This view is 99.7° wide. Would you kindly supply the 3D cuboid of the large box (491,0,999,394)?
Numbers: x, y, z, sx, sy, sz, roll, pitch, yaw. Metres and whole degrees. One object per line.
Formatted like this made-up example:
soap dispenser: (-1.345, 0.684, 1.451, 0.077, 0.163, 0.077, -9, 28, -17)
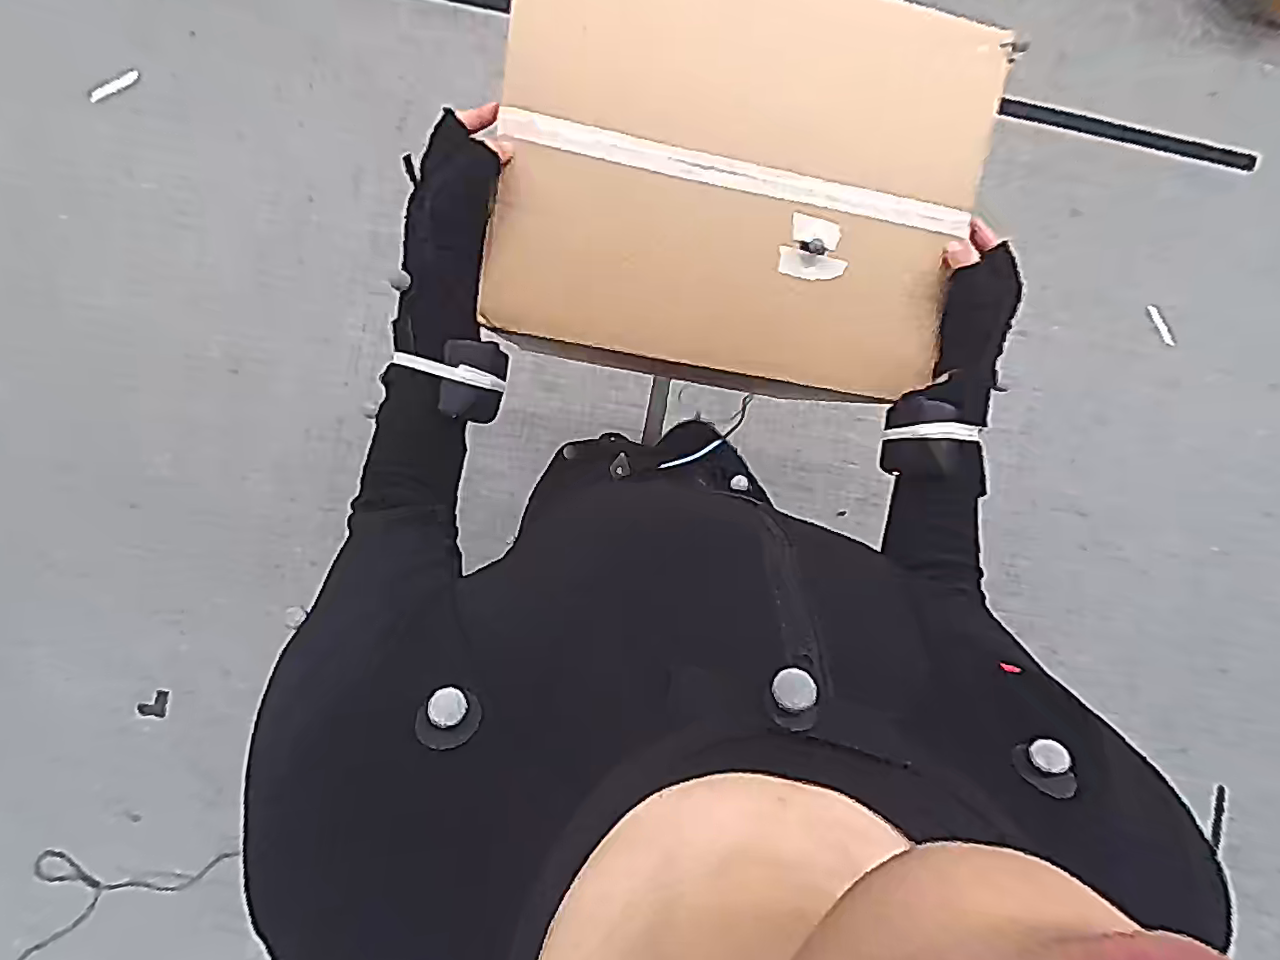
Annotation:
large box: (0.072, -0.283, 0.603, 0.408, 0.320, 0.320, 9, 100, -8)
